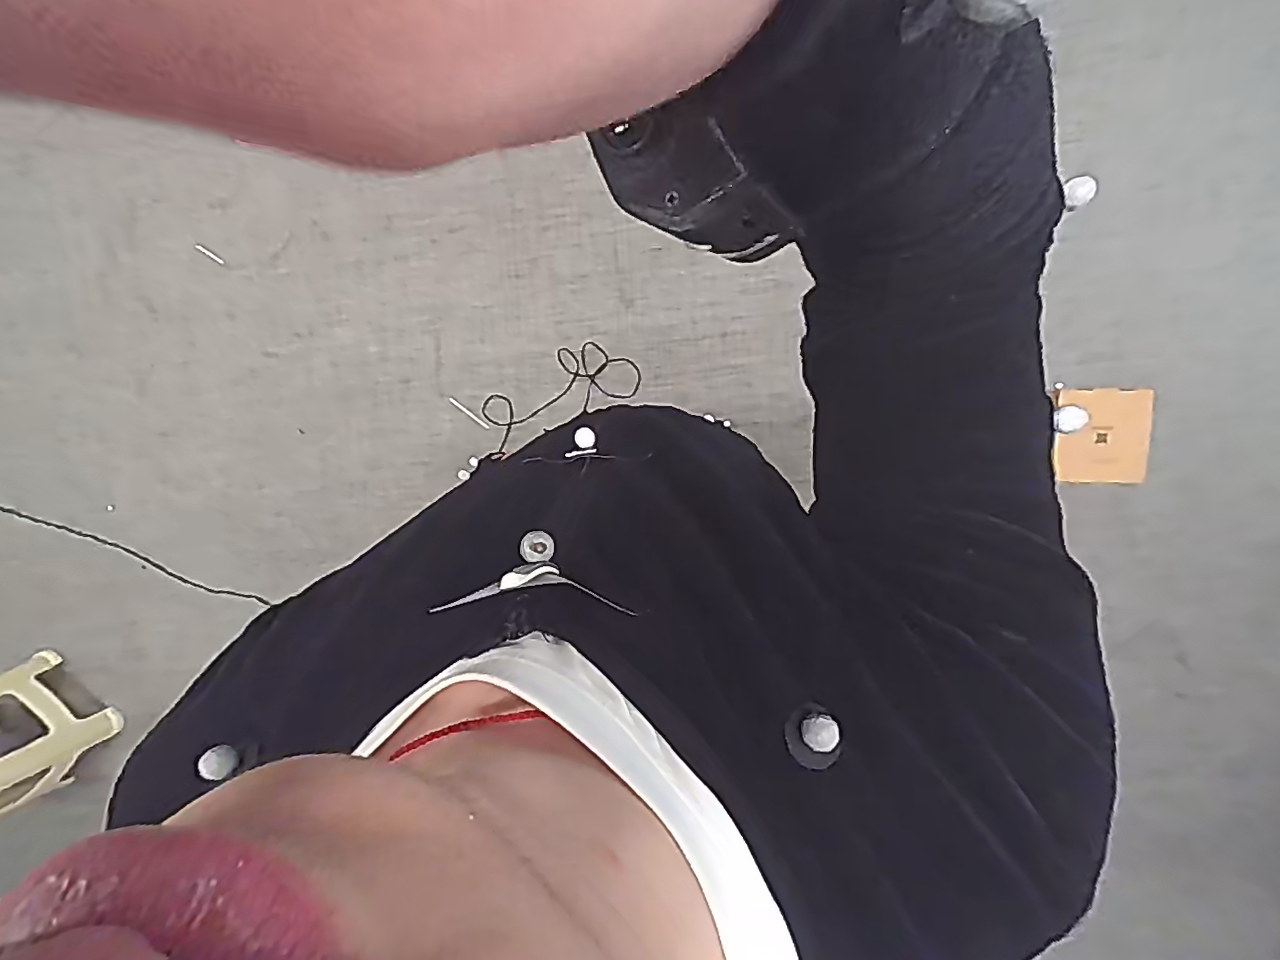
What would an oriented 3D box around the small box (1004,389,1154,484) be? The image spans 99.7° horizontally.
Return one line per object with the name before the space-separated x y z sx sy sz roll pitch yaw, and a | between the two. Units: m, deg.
small box | 0.863 -0.090 1.080 0.168 0.176 0.179 0 98 5
